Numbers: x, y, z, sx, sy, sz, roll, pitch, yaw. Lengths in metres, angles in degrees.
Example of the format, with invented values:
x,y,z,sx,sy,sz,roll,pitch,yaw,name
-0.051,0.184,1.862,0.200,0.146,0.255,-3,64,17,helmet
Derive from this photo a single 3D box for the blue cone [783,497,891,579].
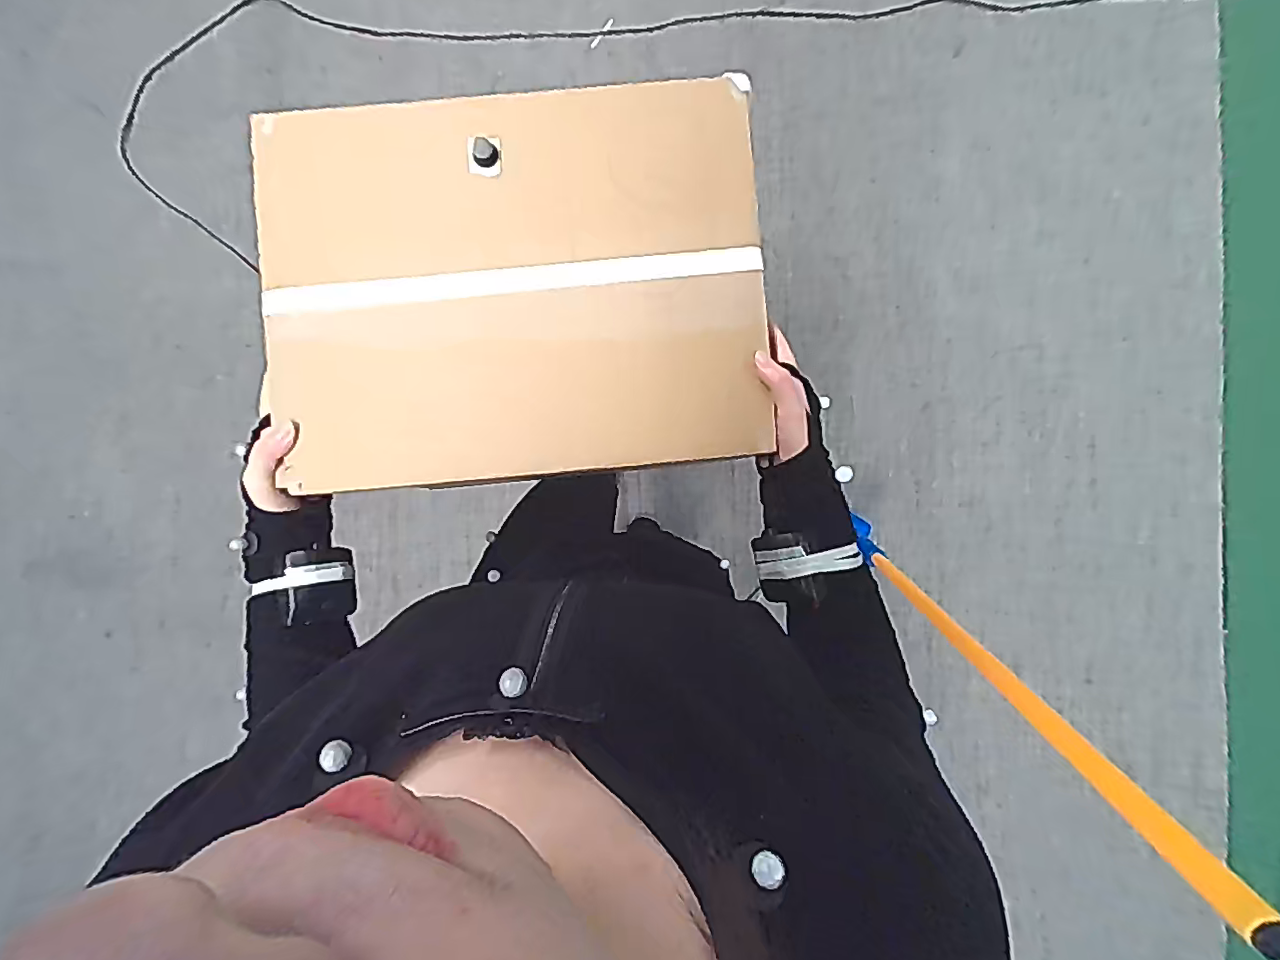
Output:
x,y,z,sx,sy,sz,roll,pitch,yaw,name
0.507,0.162,1.305,0.193,0.380,0.192,32,92,-1,blue cone
